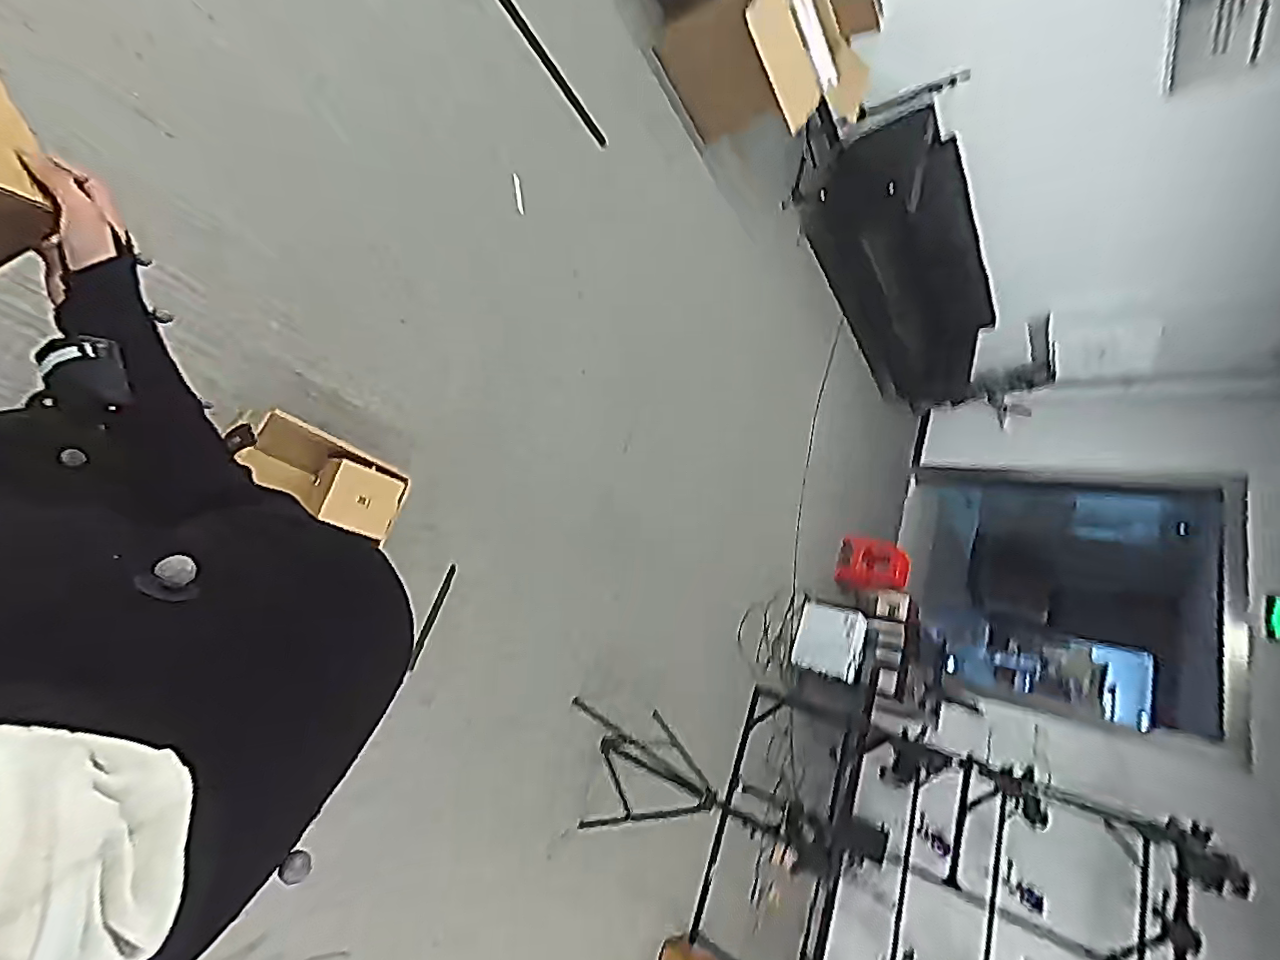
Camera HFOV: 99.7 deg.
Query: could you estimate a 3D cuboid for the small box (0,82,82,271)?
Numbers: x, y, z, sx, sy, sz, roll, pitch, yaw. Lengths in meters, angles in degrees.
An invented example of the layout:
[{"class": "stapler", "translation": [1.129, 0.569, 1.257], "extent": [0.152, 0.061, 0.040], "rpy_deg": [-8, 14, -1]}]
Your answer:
[{"class": "small box", "translation": [-0.592, -0.250, 0.384], "extent": [0.176, 0.168, 0.179], "rpy_deg": [-29, 94, 2]}]
